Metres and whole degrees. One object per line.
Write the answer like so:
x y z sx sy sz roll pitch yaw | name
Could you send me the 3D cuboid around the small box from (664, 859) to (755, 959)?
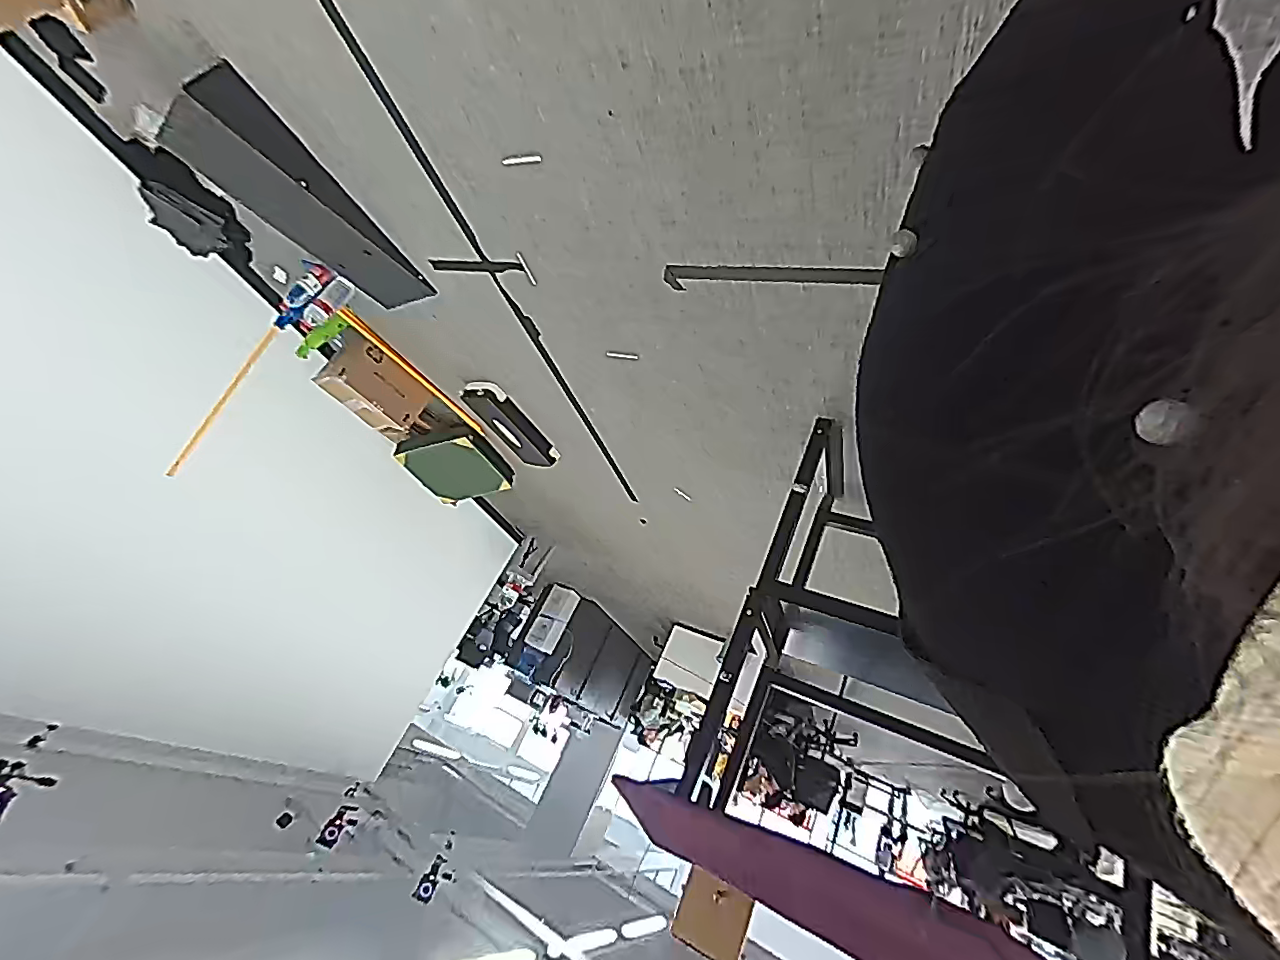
0.186 1.121 1.407 0.179 0.176 0.168 17 155 24 | small box
